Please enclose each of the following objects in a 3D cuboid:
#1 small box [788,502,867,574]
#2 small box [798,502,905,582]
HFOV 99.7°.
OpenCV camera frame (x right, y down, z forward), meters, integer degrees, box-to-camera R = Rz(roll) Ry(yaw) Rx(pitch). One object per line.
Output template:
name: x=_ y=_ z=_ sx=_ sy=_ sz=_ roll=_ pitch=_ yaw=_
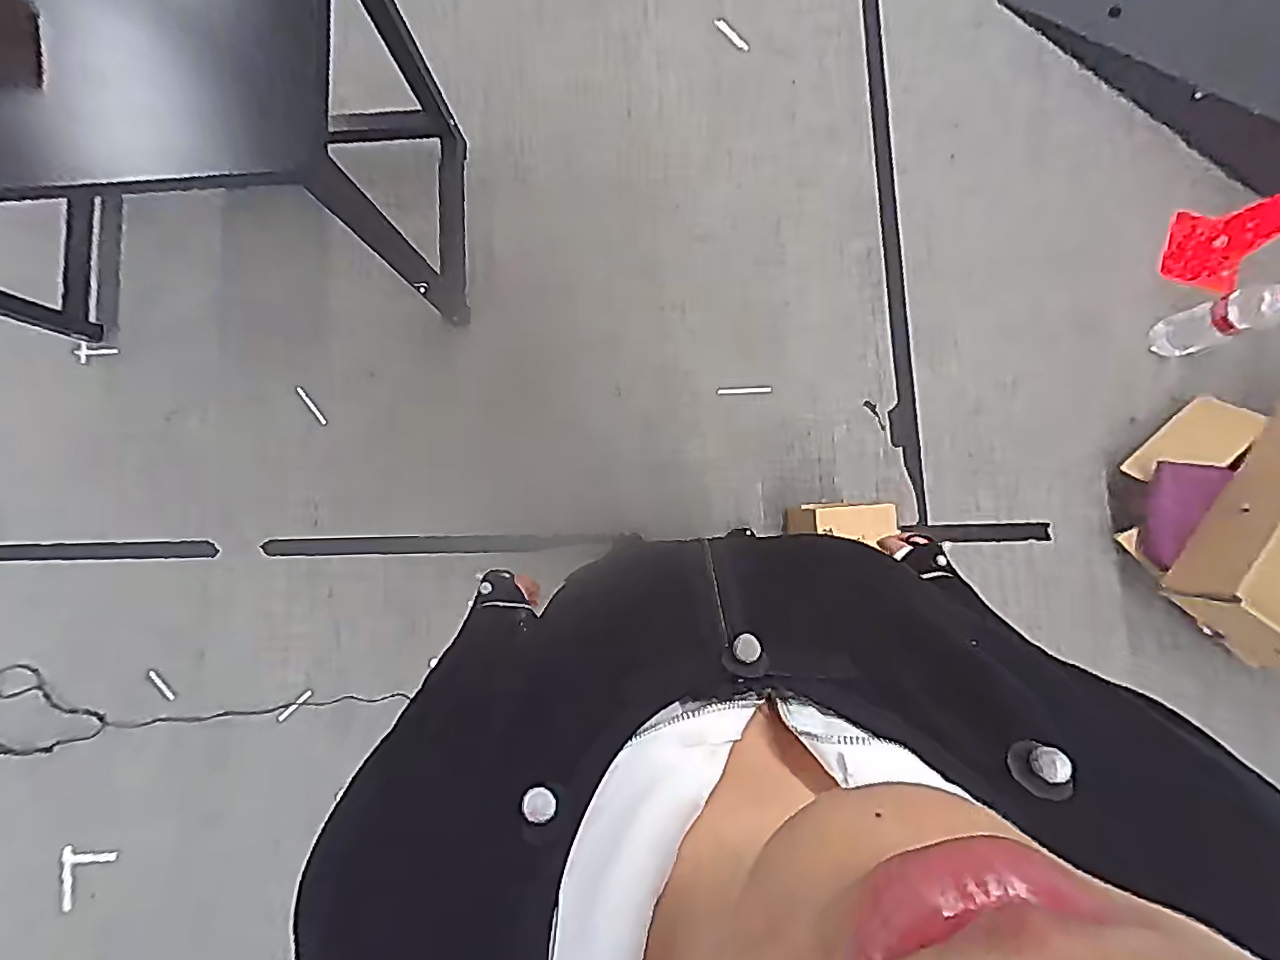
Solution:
small box: x=0.490 y=0.148 z=1.409 sx=0.168 sy=0.176 sz=0.179 roll=-3 pitch=85 yaw=2
small box: x=0.479 y=0.138 z=1.245 sx=0.179 sy=0.176 sz=0.168 roll=-4 pitch=85 yaw=2
